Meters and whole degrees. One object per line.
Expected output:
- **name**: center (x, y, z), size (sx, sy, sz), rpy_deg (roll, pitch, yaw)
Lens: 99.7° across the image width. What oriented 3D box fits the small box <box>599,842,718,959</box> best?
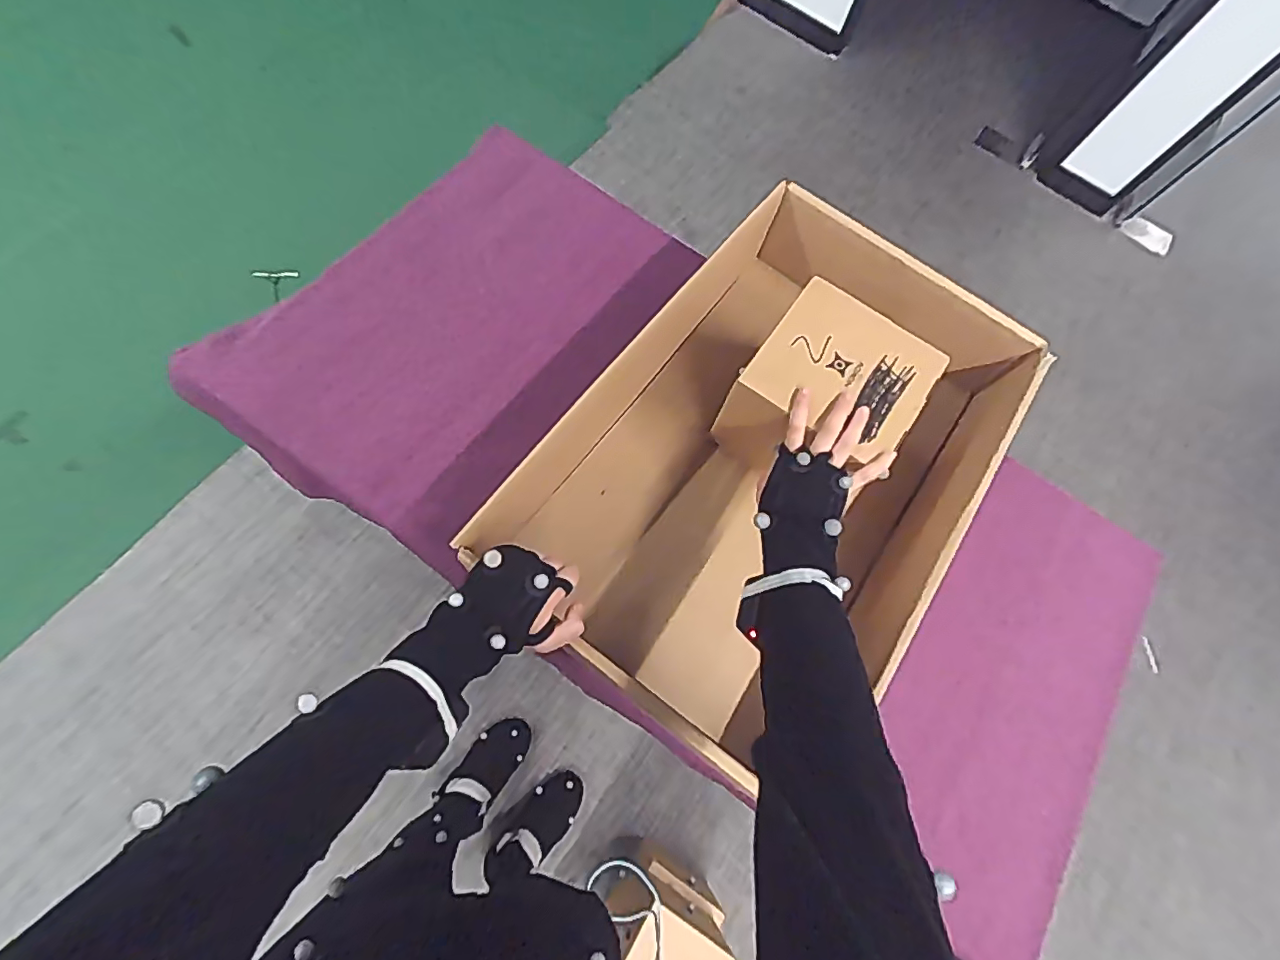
- **small box**: center (0.031, 0.893, 1.116), size (0.179, 0.176, 0.168), rpy_deg (34, 70, 6)
